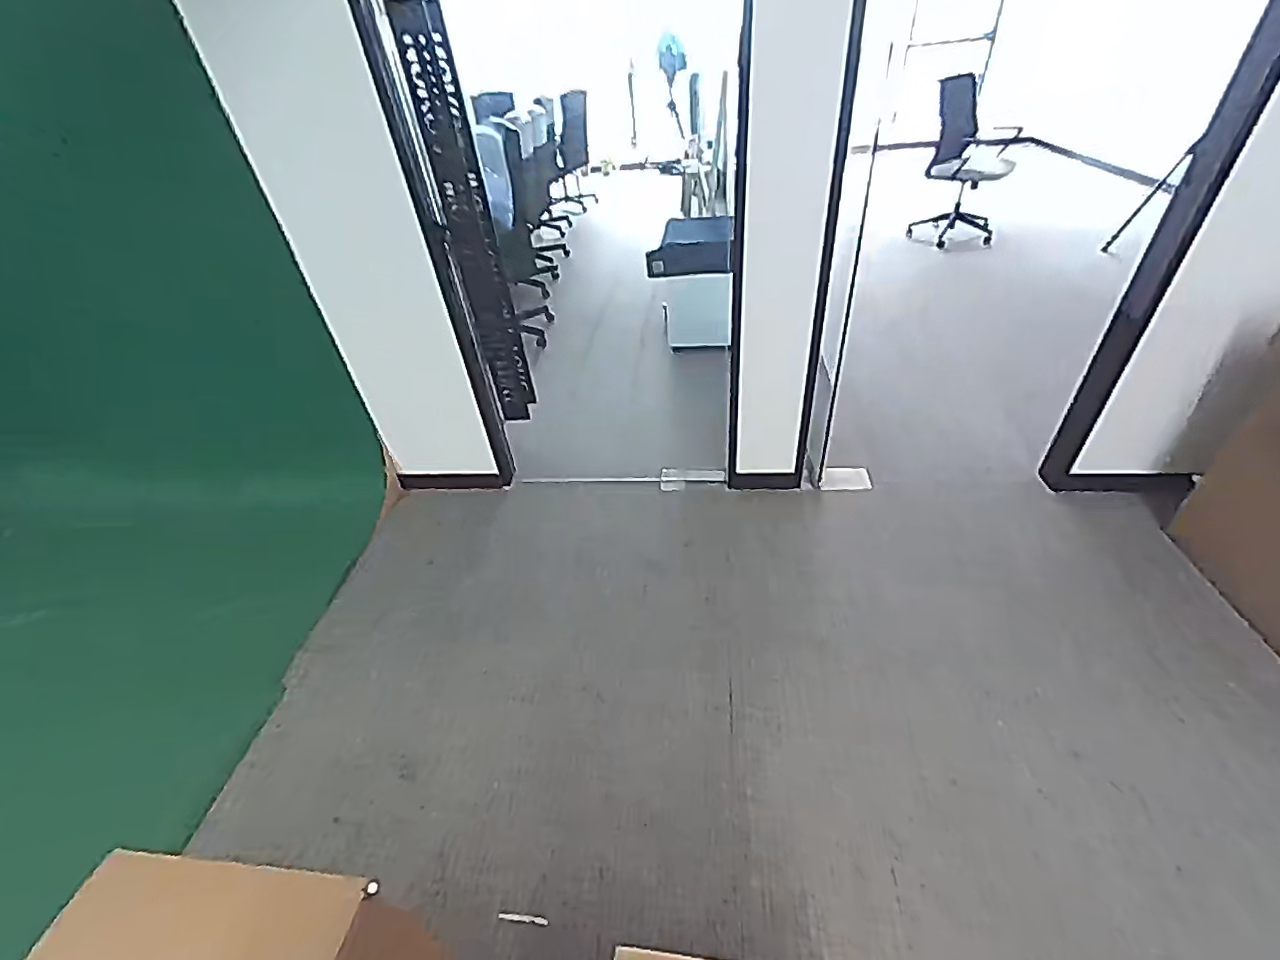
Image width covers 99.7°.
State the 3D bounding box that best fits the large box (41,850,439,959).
[{"bbox_3d":[-0.551,0.743,0.715,0.408,0.320,0.320,1,36,7],"label":"large box"}]
